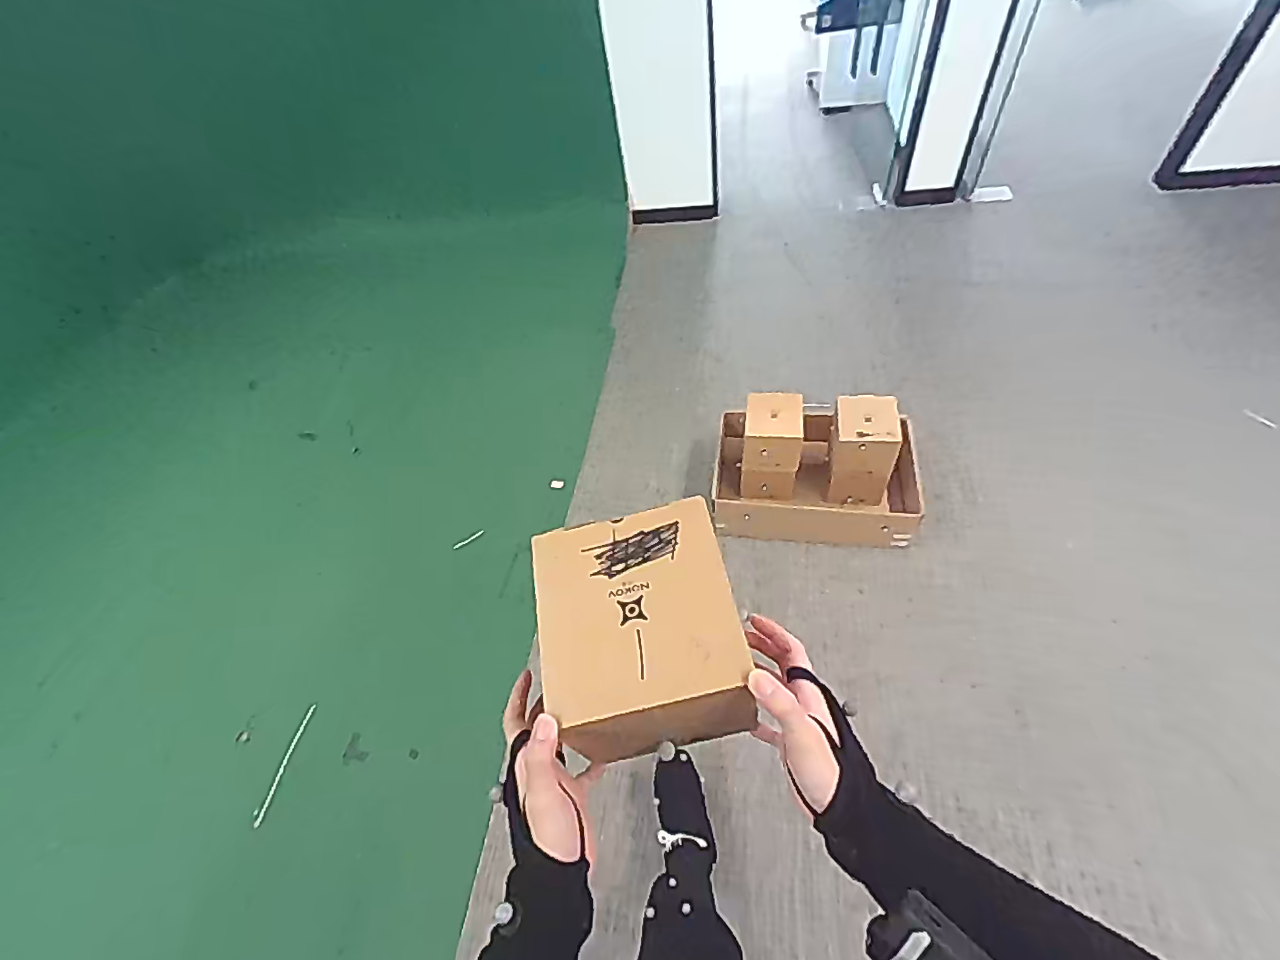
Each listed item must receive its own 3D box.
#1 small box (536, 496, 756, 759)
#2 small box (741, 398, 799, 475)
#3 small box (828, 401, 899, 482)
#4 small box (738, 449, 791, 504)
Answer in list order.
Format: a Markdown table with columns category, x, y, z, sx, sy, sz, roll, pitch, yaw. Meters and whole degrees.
| category | x | y | z | sx | sy | sz | roll | pitch | yaw |
| --- | --- | --- | --- | --- | --- | --- | --- | --- | --- |
| small box | 0.006 | 0.144 | 0.515 | 0.168 | 0.176 | 0.179 | -13 | 53 | 2 |
| small box | 0.399 | -0.132 | 1.666 | 0.168 | 0.176 | 0.179 | 3 | 54 | 11 |
| small box | 0.658 | -0.115 | 1.611 | 0.168 | 0.176 | 0.179 | 2 | 53 | 13 |
| small box | 0.415 | -0.037 | 1.795 | 0.168 | 0.176 | 0.179 | 4 | 54 | 11 |
